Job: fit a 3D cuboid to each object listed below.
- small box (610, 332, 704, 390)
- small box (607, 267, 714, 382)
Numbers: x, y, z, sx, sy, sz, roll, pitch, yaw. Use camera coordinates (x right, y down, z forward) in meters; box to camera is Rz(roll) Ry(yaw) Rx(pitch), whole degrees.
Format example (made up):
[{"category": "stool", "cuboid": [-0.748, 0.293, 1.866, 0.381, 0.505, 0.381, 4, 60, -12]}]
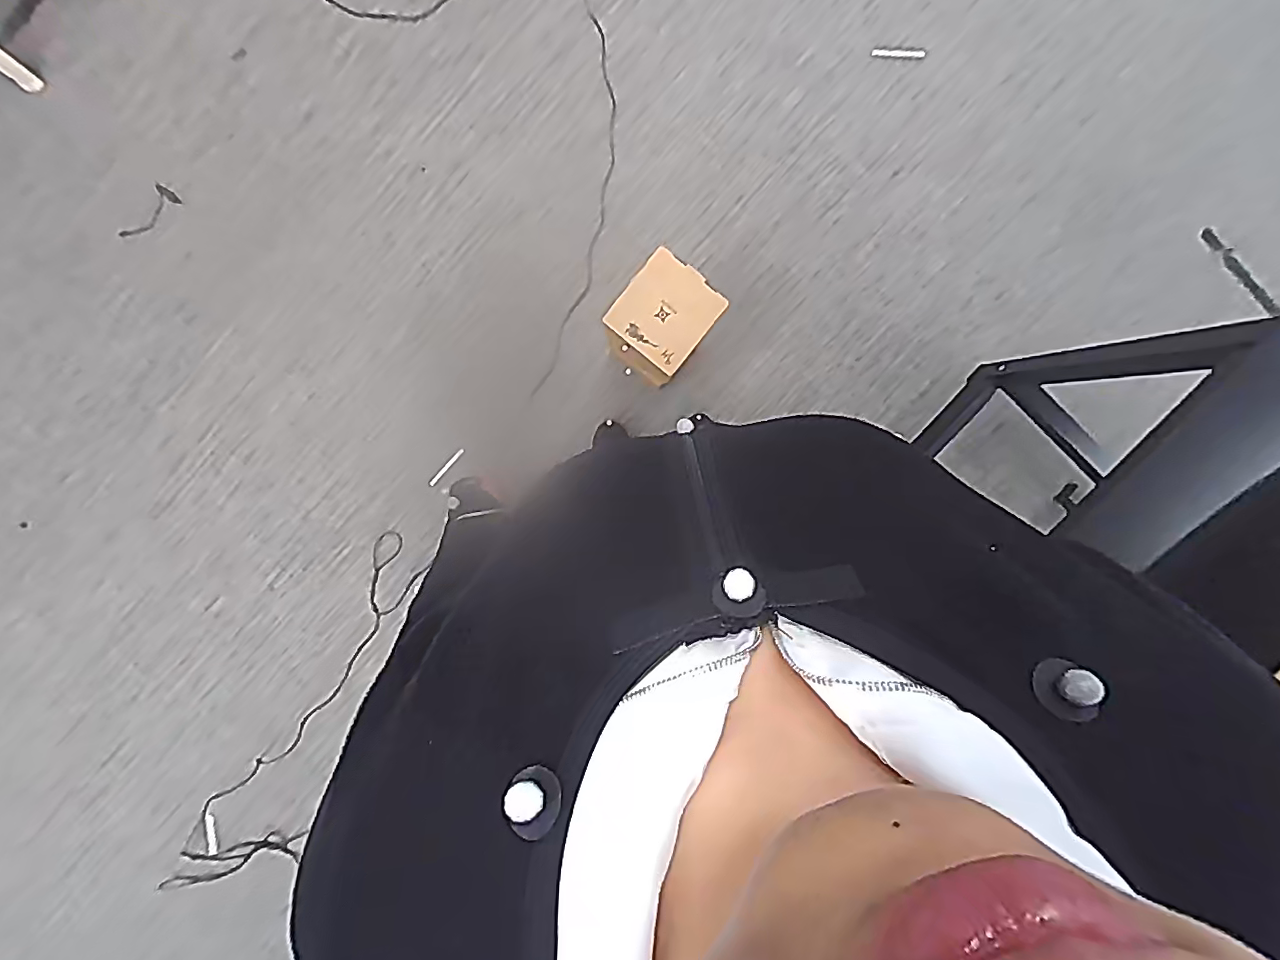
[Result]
[{"category": "small box", "cuboid": [0.039, -0.350, 1.388, 0.168, 0.176, 0.179, 39, 95, -4]}, {"category": "small box", "cuboid": [0.043, -0.341, 1.227, 0.168, 0.176, 0.179, 35, 93, -5]}]
